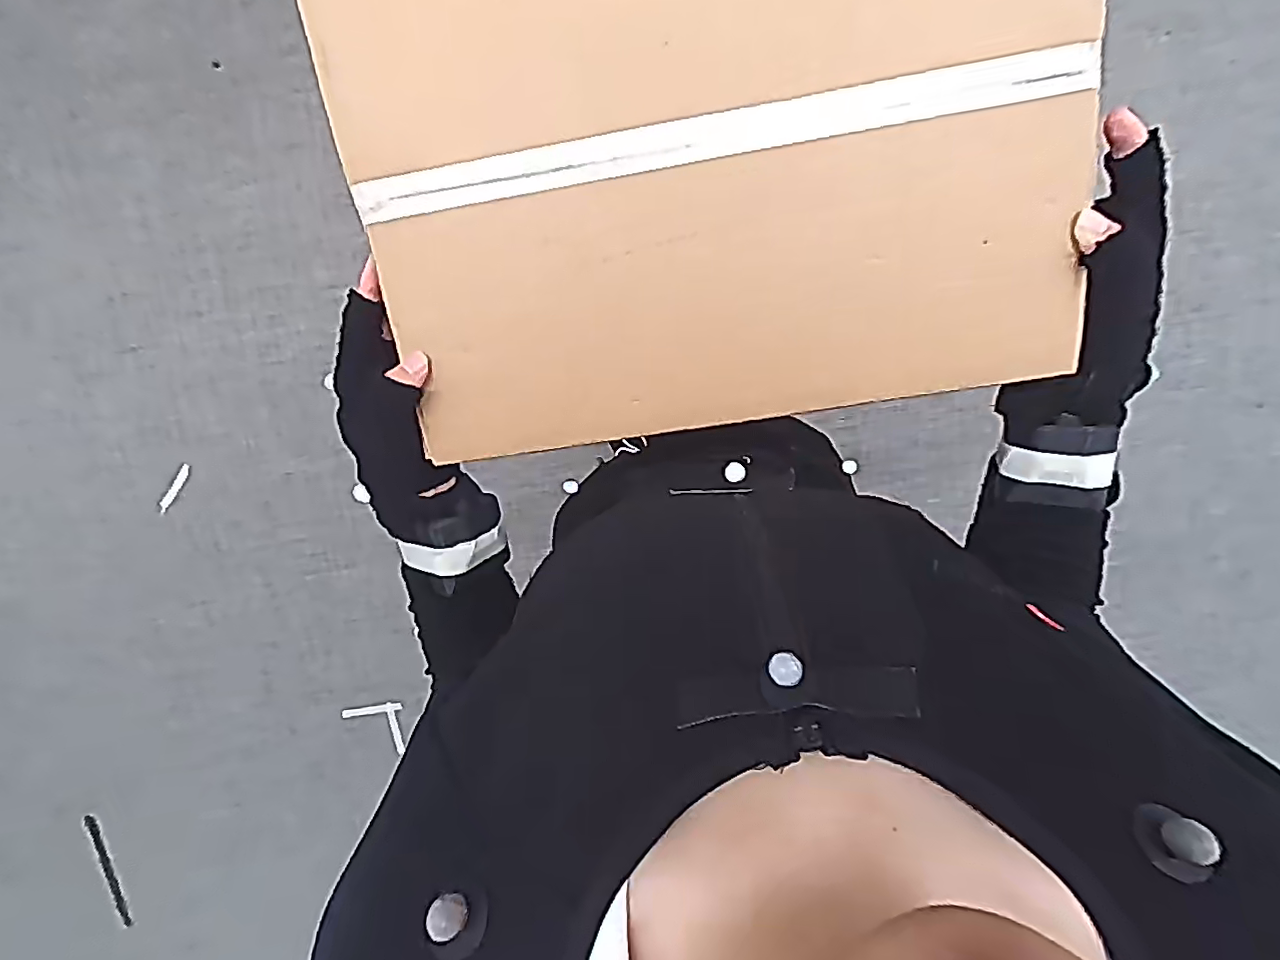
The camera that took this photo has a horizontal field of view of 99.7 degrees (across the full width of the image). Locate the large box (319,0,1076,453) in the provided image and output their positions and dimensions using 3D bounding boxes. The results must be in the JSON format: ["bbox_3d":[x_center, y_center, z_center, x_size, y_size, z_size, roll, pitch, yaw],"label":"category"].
[{"bbox_3d":[0.040,-0.233,0.451,0.408,0.320,0.320,-8,107,4],"label":"large box"}]
